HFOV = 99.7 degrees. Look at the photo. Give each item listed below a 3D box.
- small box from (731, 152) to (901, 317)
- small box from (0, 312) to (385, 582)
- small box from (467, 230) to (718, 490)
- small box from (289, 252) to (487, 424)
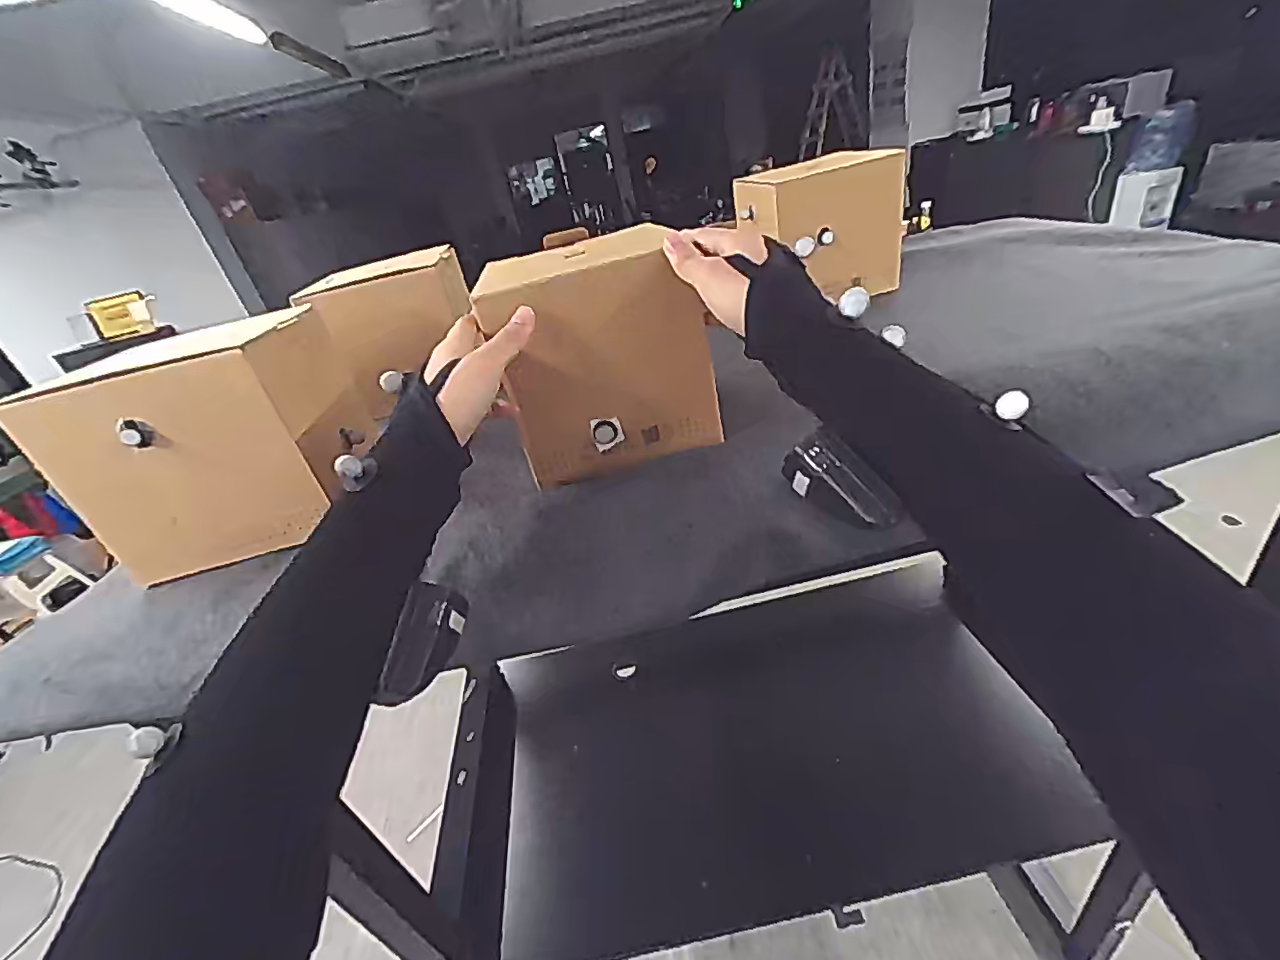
[{"bbox_3d":[0.239,-0.339,0.752,0.168,0.176,0.179,-15,31,-1],"label":"small box"},{"bbox_3d":[-0.363,-0.033,0.484,0.179,0.176,0.168,-15,30,-4],"label":"small box"},{"bbox_3d":[-0.040,-0.115,0.490,0.168,0.176,0.179,-16,30,-3],"label":"small box"},{"bbox_3d":[-0.319,-0.194,0.734,0.179,0.176,0.168,-14,31,-3],"label":"small box"}]
